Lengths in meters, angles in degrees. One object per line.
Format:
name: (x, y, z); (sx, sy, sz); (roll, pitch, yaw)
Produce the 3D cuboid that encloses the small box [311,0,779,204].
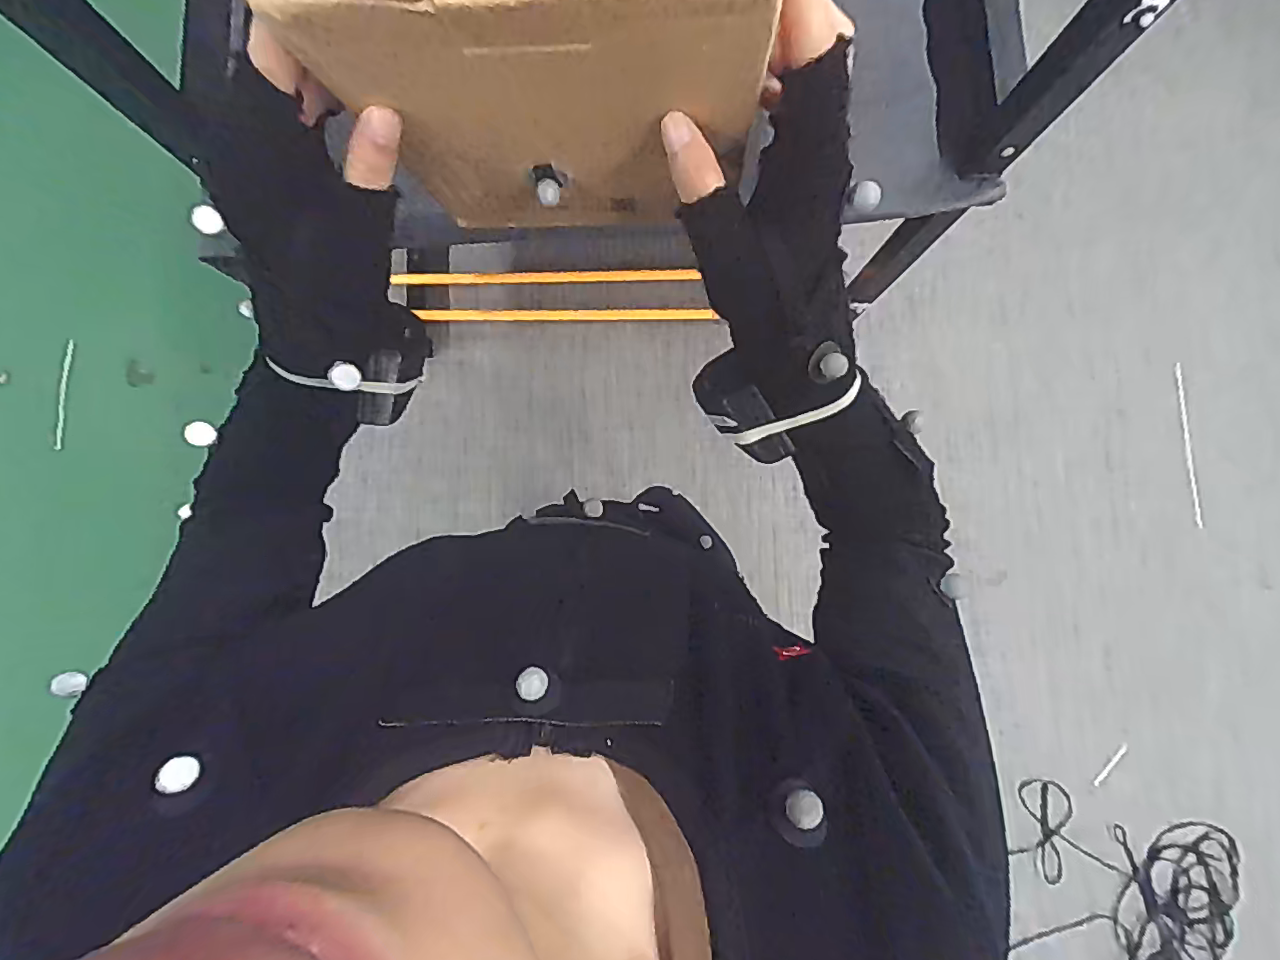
small box: (-0.032, -0.243, 0.227); (0.168, 0.176, 0.179); (1, 95, 4)
